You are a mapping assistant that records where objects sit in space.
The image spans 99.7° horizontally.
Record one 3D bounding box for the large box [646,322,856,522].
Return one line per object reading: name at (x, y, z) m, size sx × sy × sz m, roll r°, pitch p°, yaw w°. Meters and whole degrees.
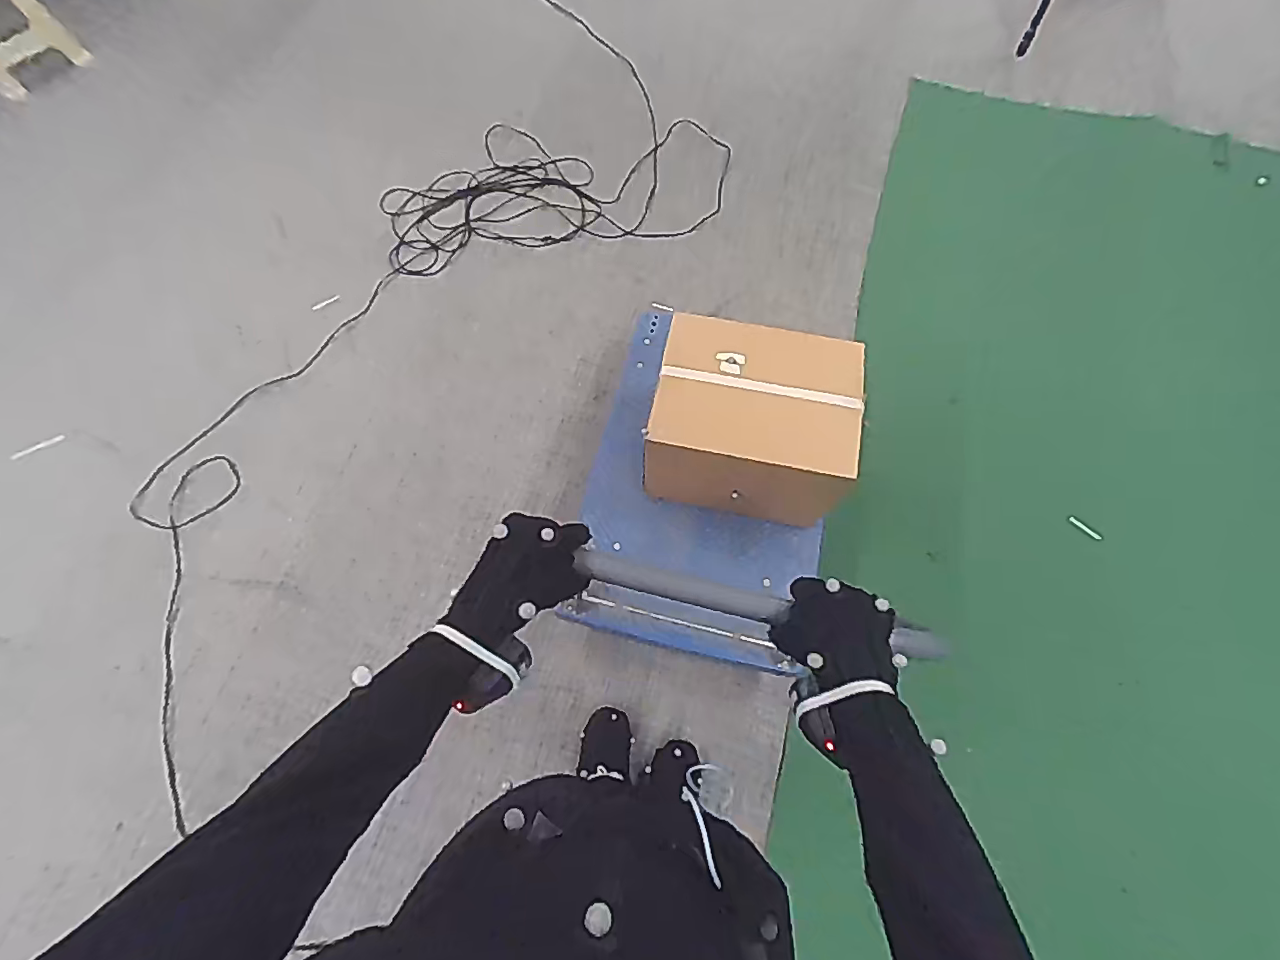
large box at (0.237, -0.116, 1.229) m, size 0.408 × 0.320 × 0.320 m, roll 10°, pitch 68°, yaw 5°
